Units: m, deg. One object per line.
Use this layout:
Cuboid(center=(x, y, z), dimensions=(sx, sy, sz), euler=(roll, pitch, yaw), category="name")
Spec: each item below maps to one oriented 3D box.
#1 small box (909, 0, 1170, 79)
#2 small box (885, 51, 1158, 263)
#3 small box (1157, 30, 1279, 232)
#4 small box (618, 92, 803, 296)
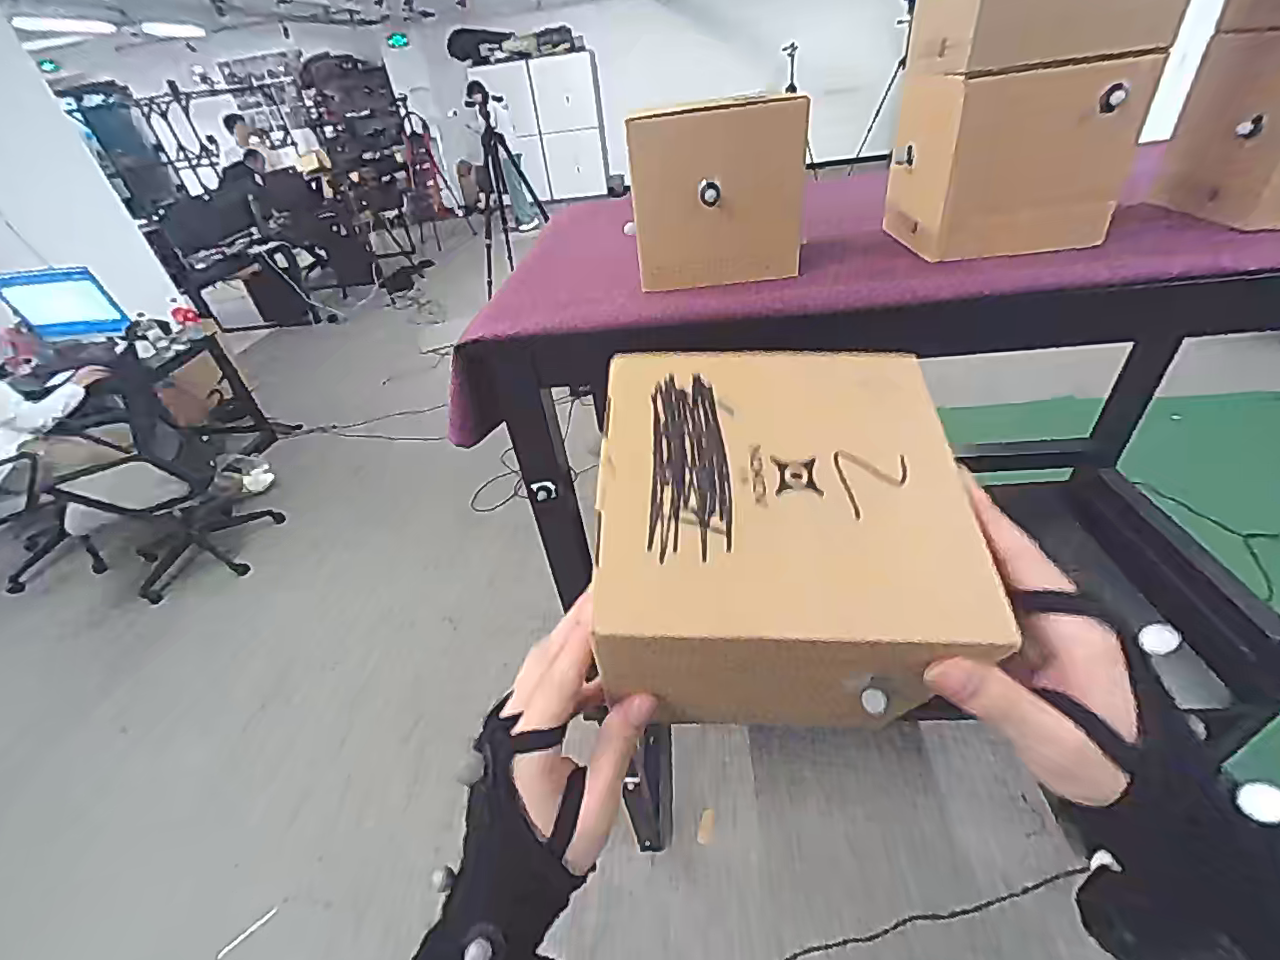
Cuboid(center=(0.365, -0.479, 0.494), dimensions=(0.179, 0.176, 0.168), euler=(-3, 37, 6), category="small box")
Cuboid(center=(0.383, -0.347, 0.591), dimensions=(0.179, 0.176, 0.168), euler=(-4, 37, 6), category="small box")
Cuboid(center=(0.688, -0.362, 0.550), dimensions=(0.179, 0.176, 0.168), euler=(-1, 38, 10), category="small box")
Cuboid(center=(0.076, -0.324, 0.616), dimensions=(0.179, 0.176, 0.168), euler=(-6, 37, 5), category="small box")
